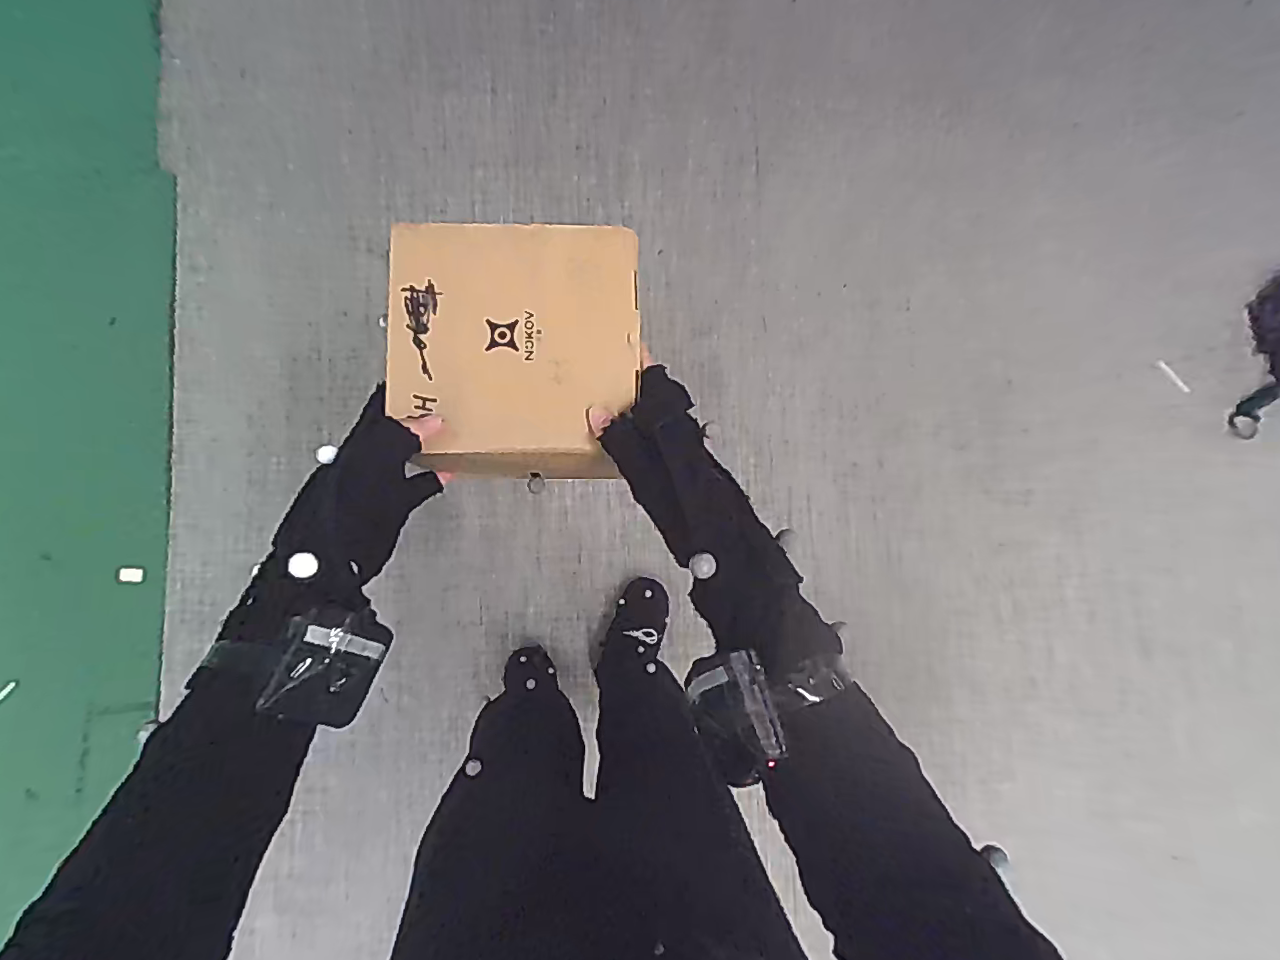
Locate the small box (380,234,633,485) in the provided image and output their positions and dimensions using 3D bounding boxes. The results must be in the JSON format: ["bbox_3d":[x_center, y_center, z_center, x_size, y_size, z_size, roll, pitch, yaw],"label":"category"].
[{"bbox_3d":[-0.099,-0.087,0.466,0.179,0.176,0.168,0,84,-4],"label":"small box"}]
